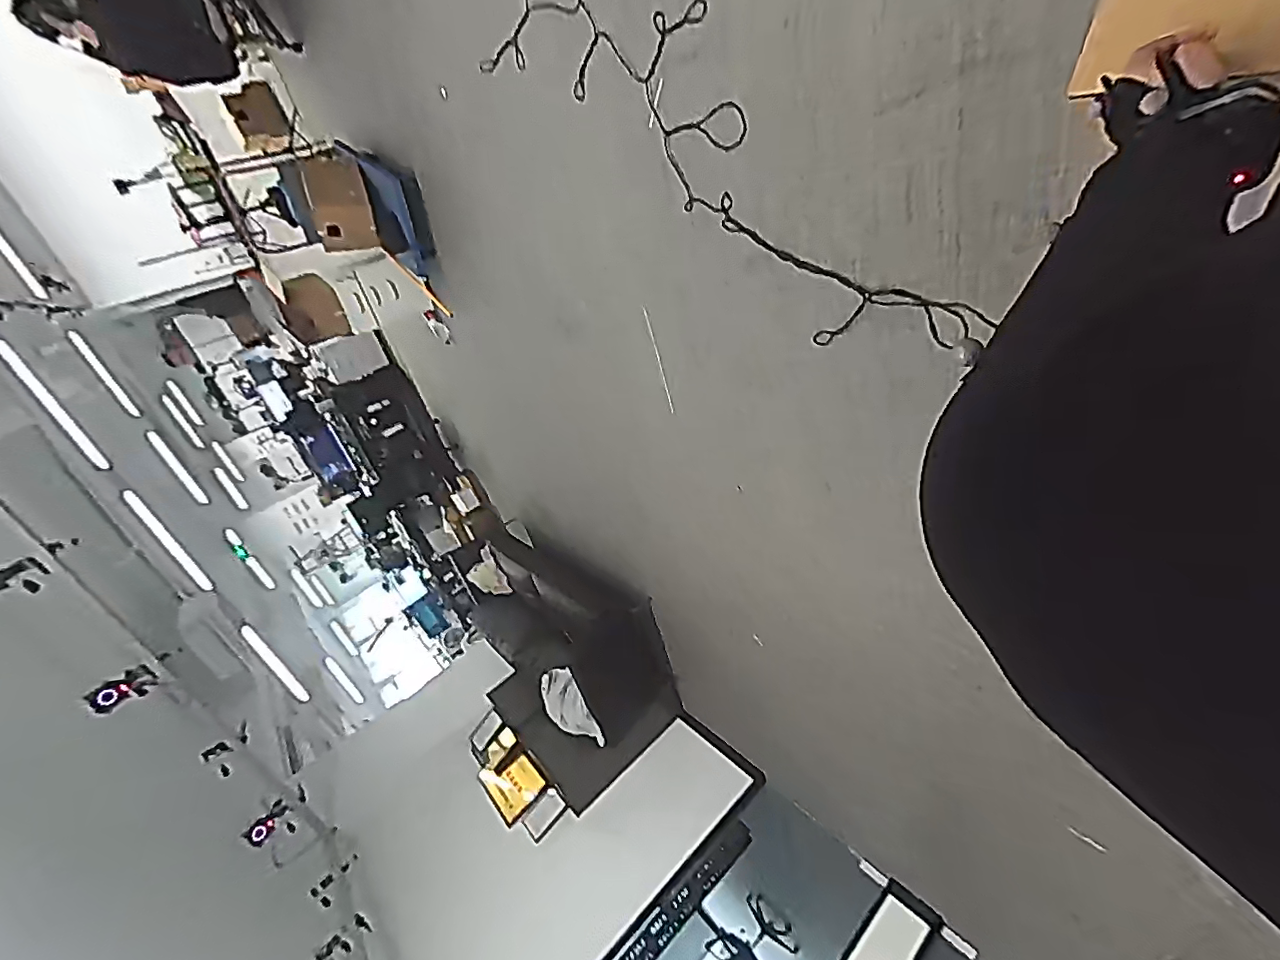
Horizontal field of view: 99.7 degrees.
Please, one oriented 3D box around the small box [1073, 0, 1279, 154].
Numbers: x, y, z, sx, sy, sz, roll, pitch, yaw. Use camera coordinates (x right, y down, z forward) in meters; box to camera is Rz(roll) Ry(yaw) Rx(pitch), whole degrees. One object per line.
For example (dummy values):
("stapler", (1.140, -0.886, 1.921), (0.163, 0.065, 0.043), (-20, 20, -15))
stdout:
("small box", (0.545, -0.431, 0.503), (0.168, 0.179, 0.176), (26, 113, 42))
